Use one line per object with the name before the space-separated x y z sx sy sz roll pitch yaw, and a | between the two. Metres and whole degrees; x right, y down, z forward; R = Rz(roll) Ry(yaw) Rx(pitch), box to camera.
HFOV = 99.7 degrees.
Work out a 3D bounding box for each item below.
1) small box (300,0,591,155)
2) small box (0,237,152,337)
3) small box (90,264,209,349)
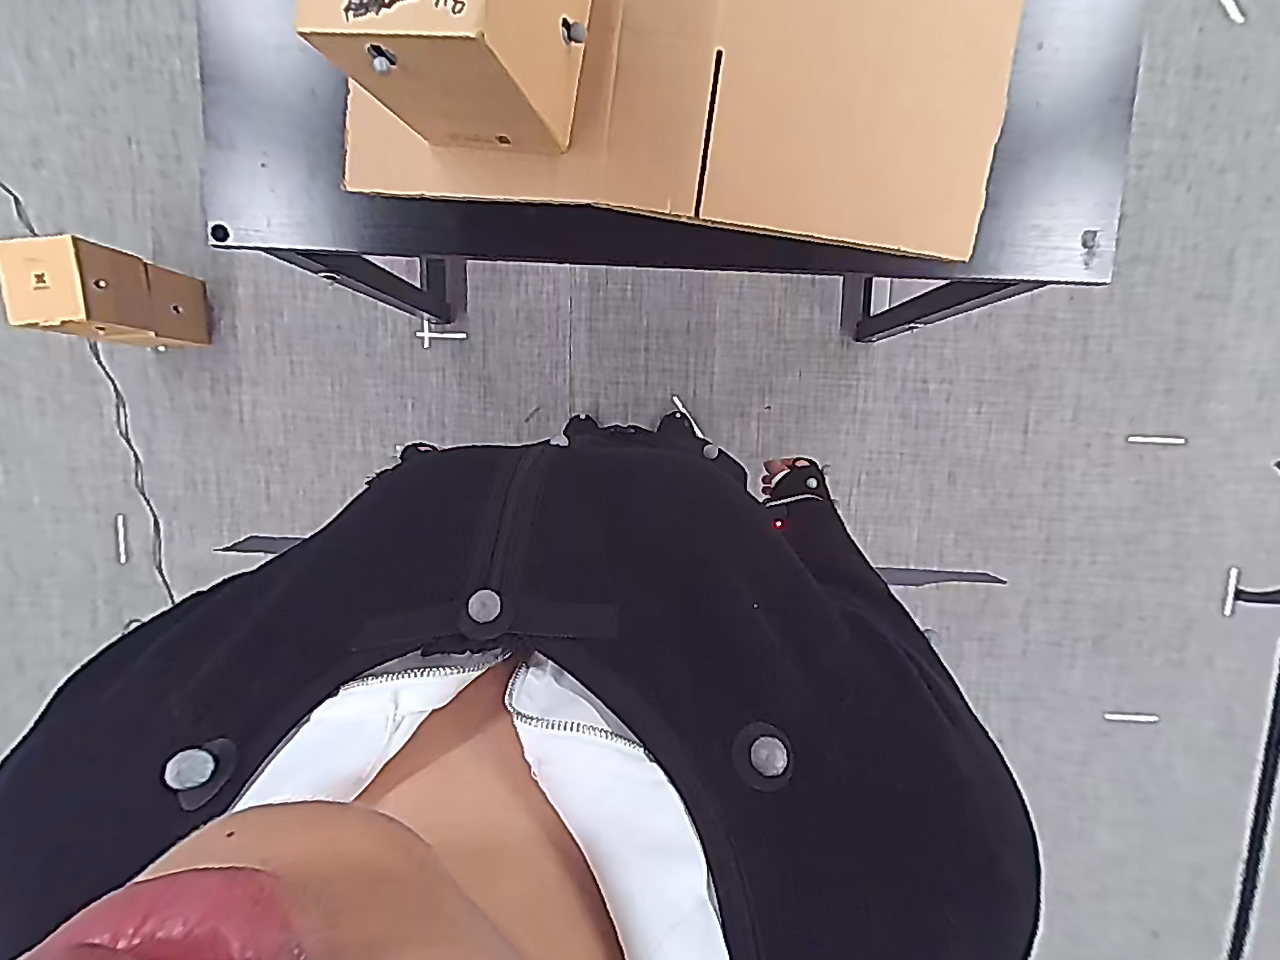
small box | -0.152 -0.423 0.473 0.168 0.176 0.179 12 97 13
small box | -1.247 -0.421 1.208 0.168 0.176 0.179 -5 95 0
small box | -1.244 -0.434 1.370 0.168 0.176 0.179 -2 97 1
